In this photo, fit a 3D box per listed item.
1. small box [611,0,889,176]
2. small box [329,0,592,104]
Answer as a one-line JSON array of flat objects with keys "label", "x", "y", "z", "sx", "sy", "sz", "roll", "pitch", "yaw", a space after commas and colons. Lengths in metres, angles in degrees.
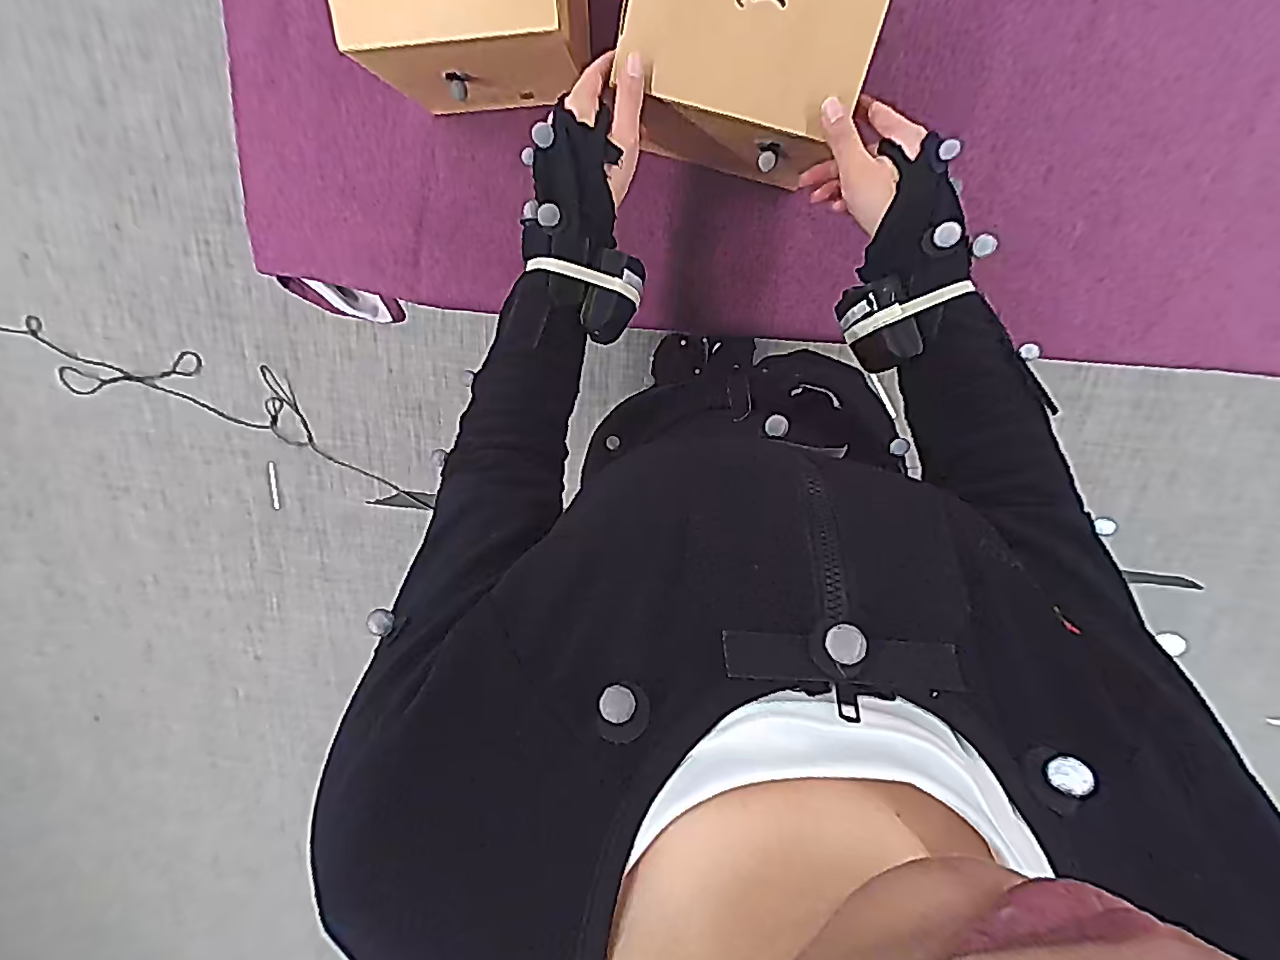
[{"label": "small box", "x": 0.087, "y": -0.365, "z": 0.435, "sx": 0.179, "sy": 0.176, "sz": 0.168, "roll": 15, "pitch": 108, "yaw": 0}, {"label": "small box", "x": -0.137, "y": -0.426, "z": 0.433, "sx": 0.168, "sy": 0.176, "sz": 0.179, "roll": -2, "pitch": 109, "yaw": 5}]
